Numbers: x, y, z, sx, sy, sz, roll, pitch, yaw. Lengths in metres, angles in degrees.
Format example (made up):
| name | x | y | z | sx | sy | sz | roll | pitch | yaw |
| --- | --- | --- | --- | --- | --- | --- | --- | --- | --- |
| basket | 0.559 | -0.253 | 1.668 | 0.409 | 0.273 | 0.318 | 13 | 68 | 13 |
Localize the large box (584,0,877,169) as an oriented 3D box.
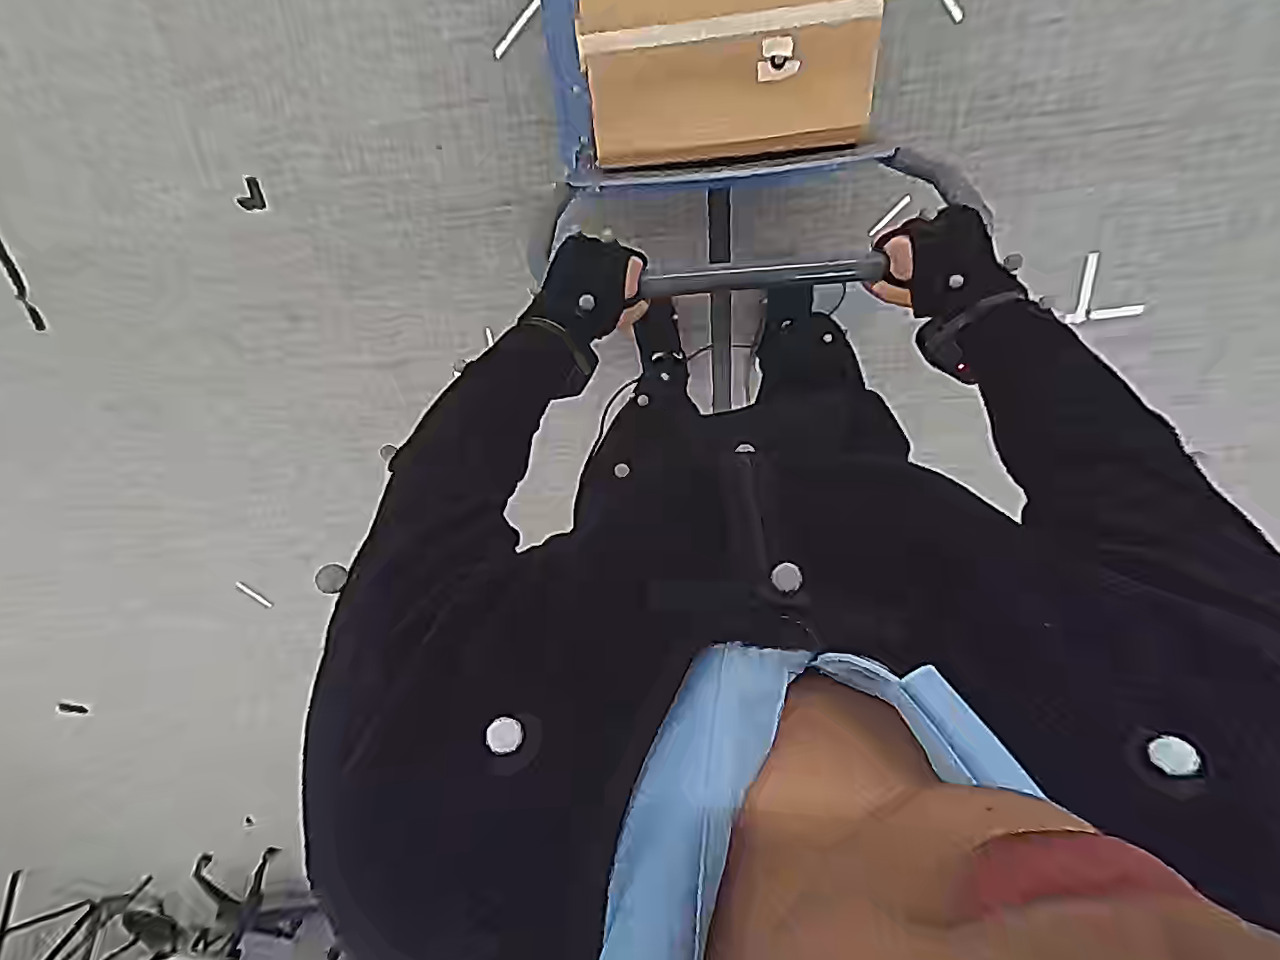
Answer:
| name | x | y | z | sx | sy | sz | roll | pitch | yaw |
| --- | --- | --- | --- | --- | --- | --- | --- | --- | --- |
| large box | 0.128 | -0.715 | 0.874 | 0.408 | 0.320 | 0.320 | -4 | 125 | 5 |
